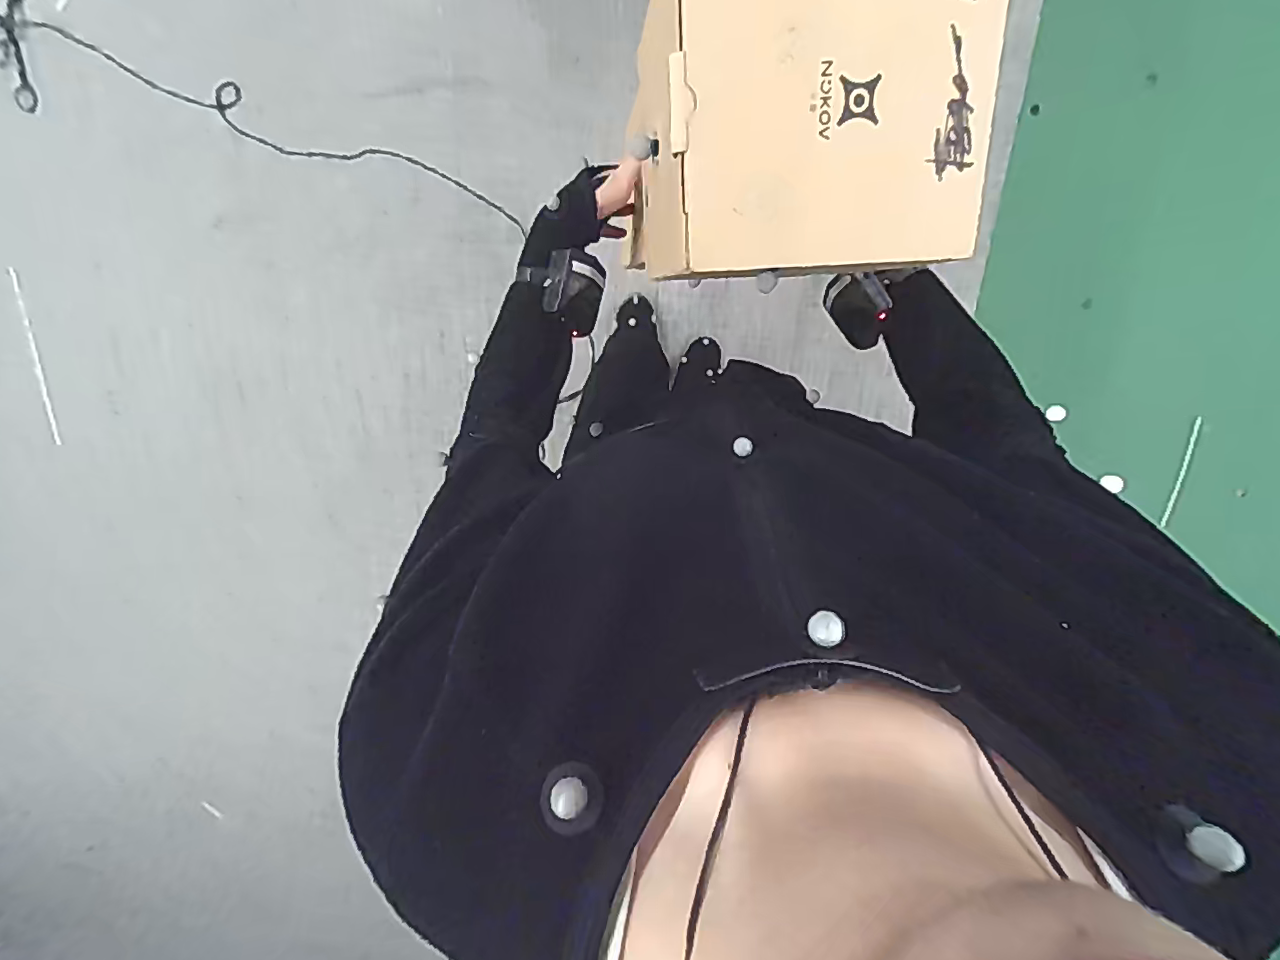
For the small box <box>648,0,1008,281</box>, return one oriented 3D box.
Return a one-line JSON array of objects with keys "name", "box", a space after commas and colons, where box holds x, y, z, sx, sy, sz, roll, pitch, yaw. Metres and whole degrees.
[{"name": "small box", "box": [0.098, -0.227, 0.360, 0.179, 0.176, 0.168, -5, 109, -4]}]
